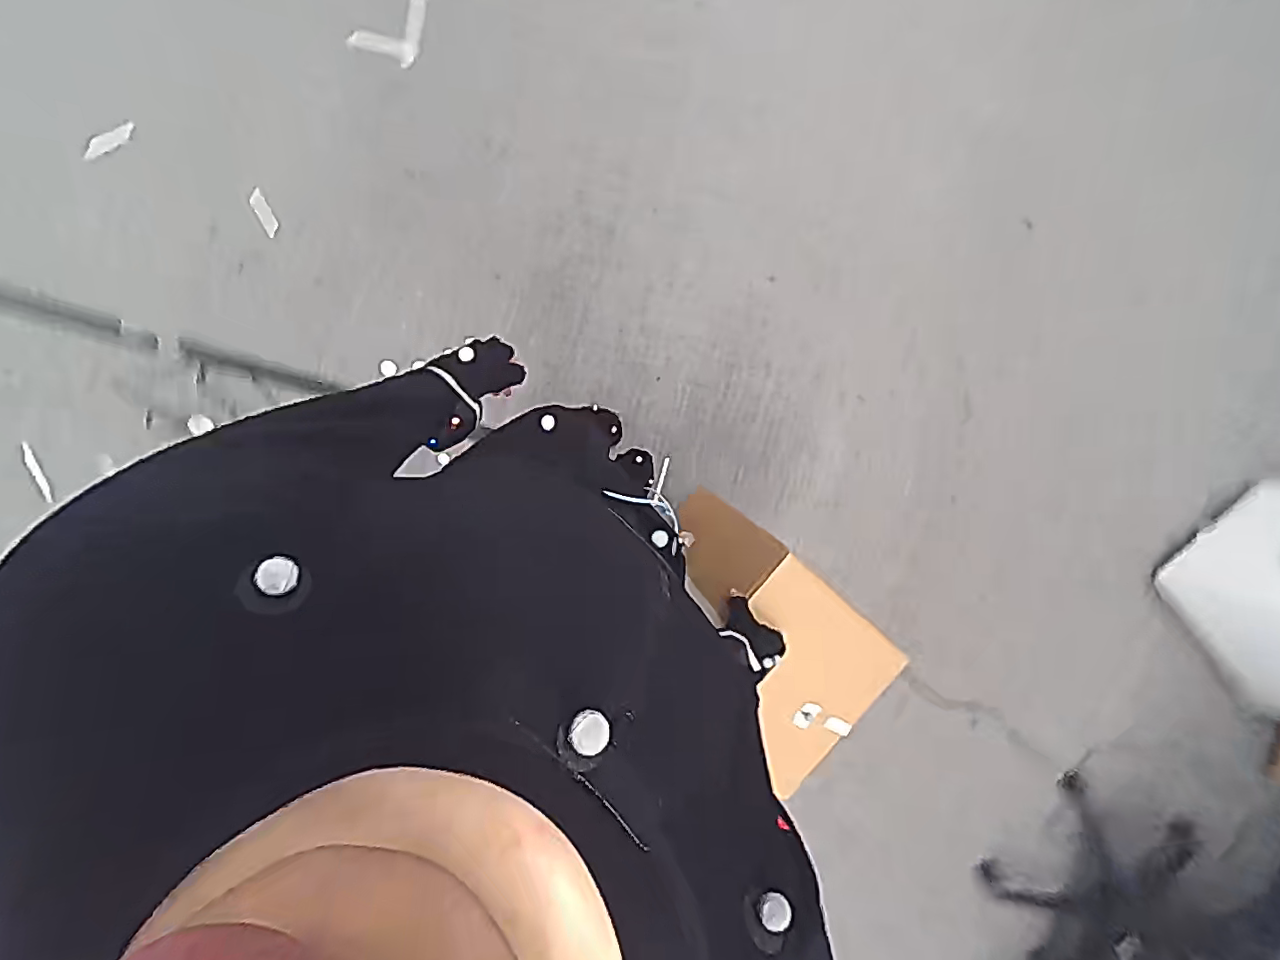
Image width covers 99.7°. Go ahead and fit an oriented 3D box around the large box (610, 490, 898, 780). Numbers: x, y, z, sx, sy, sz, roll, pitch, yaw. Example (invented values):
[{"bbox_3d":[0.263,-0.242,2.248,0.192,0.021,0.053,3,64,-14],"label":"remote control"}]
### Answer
[{"bbox_3d":[0.186,0.265,1.037,0.320,0.408,0.320,39,91,-18],"label":"large box"}]
